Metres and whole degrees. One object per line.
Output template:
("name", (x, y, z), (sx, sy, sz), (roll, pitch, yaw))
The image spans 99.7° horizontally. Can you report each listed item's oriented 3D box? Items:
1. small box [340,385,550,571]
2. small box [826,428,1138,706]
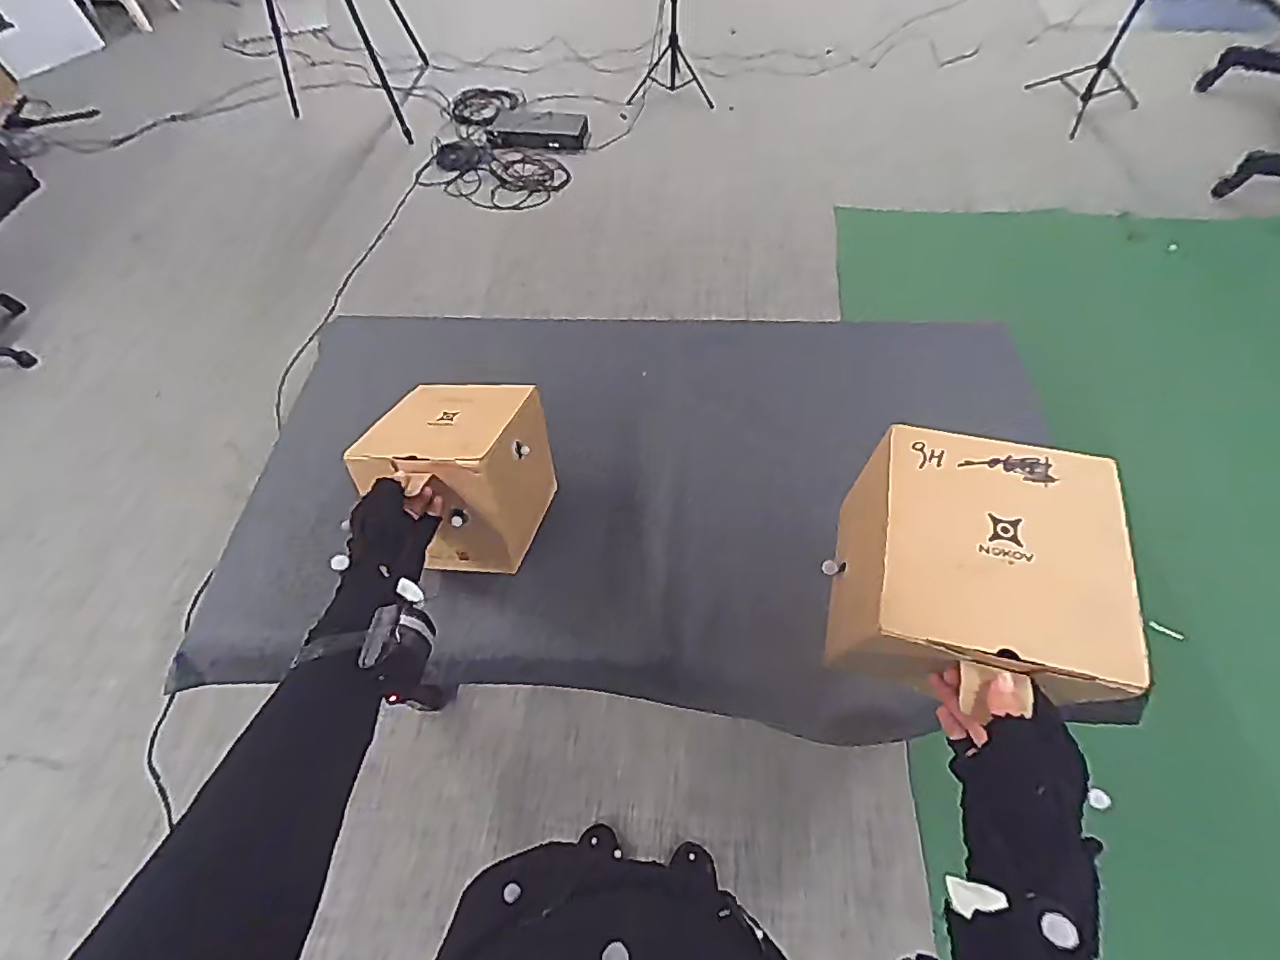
("small box", (-0.222, -0.005, 0.675), (0.168, 0.176, 0.179), (2, 35, 10))
("small box", (0.266, 0.083, 0.463), (0.168, 0.176, 0.179), (11, 65, 10))
